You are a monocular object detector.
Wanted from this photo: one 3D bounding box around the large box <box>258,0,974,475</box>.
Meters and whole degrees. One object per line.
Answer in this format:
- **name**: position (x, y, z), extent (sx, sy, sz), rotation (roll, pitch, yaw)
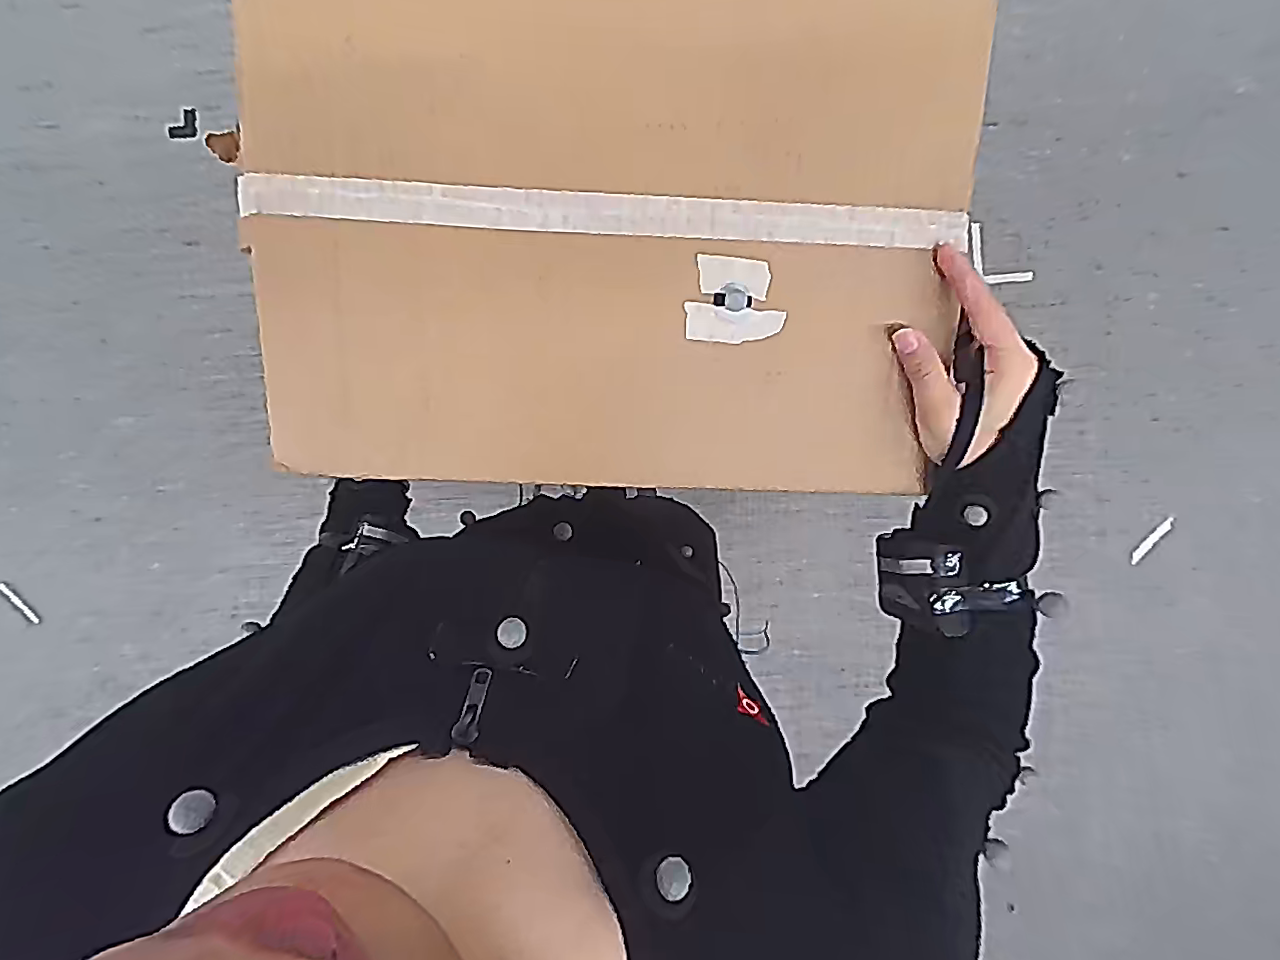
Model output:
- **large box**: position (-0.019, -0.181, 0.464), extent (0.408, 0.320, 0.320), rotation (1, 101, -4)
